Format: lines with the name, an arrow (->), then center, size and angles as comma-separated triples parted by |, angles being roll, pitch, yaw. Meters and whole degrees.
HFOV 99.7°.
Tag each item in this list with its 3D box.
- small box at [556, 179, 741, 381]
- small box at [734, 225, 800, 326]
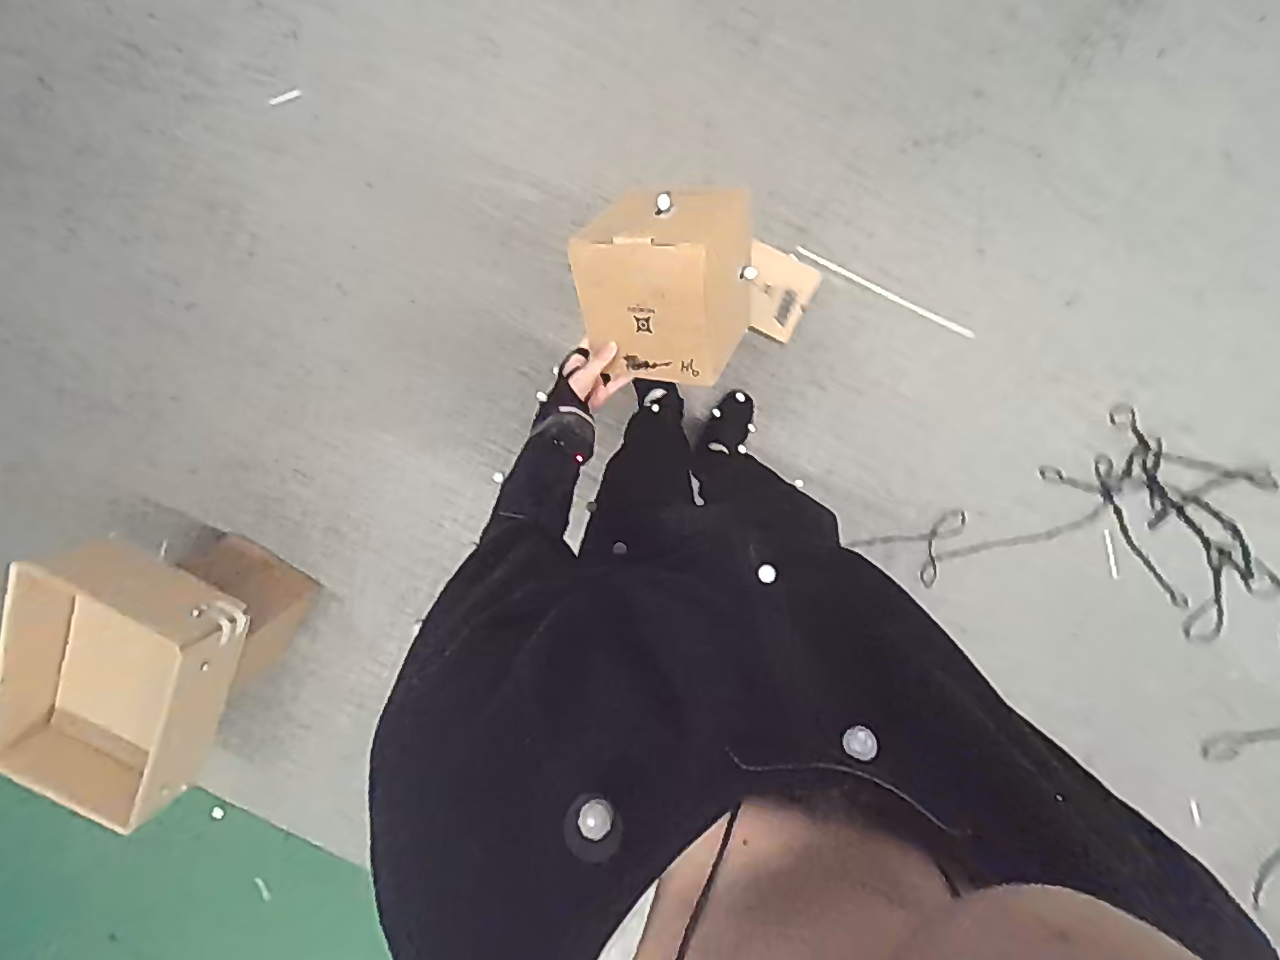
small box -> 0.021, -0.250, 0.661 | 0.168, 0.176, 0.179 | 13, 139, 20
small box -> 0.235, -0.465, 1.230 | 0.179, 0.176, 0.168 | 22, 107, -1
